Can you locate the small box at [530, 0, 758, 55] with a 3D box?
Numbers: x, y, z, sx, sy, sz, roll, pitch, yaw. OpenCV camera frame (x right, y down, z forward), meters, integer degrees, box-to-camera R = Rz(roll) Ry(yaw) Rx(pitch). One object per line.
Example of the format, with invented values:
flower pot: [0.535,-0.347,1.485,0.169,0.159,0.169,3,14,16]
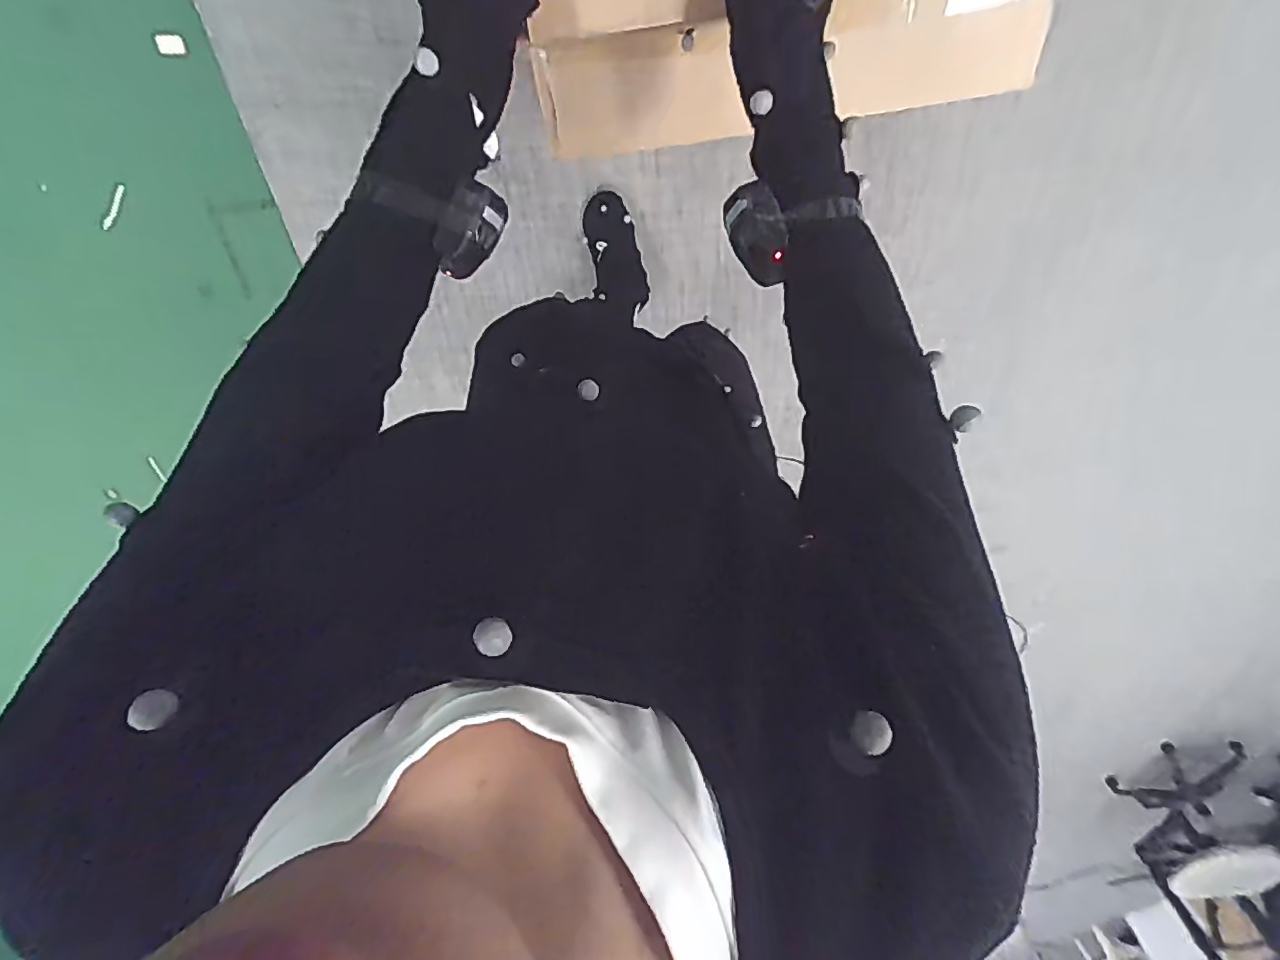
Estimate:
small box: [-0.006,-0.463,0.440,0.179,0.176,0.168,-6,126,4]
